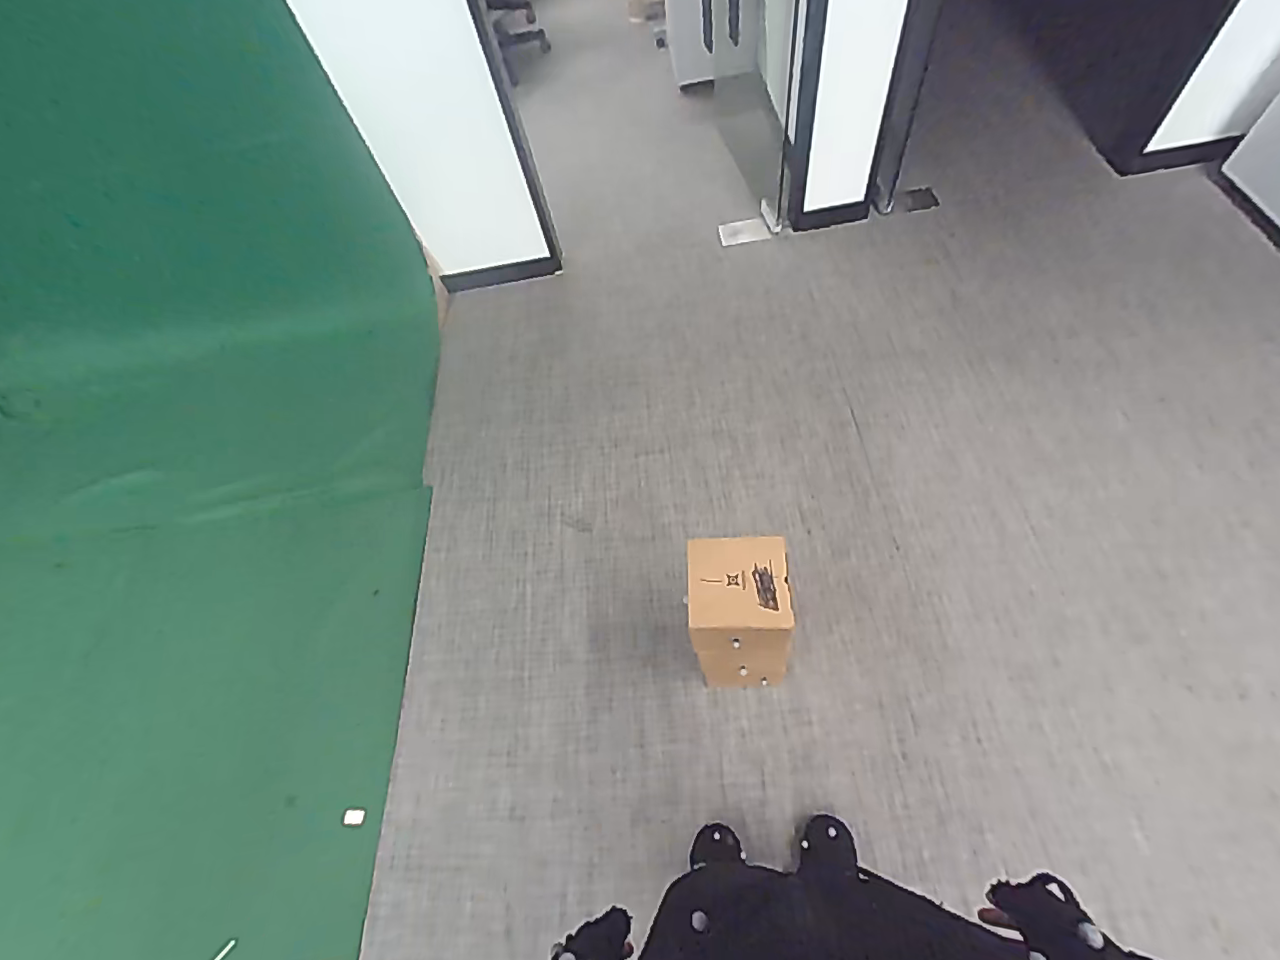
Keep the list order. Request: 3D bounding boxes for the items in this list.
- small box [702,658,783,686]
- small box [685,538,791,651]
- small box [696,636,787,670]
[{"bbox_3d":[0.233,0.388,1.284,0.179,0.176,0.168,-6,58,7],"label":"small box"},{"bbox_3d":[0.180,0.217,1.008,0.179,0.176,0.168,-2,59,10],"label":"small box"},{"bbox_3d":[0.206,0.302,1.147,0.179,0.176,0.168,-3,59,7],"label":"small box"}]
